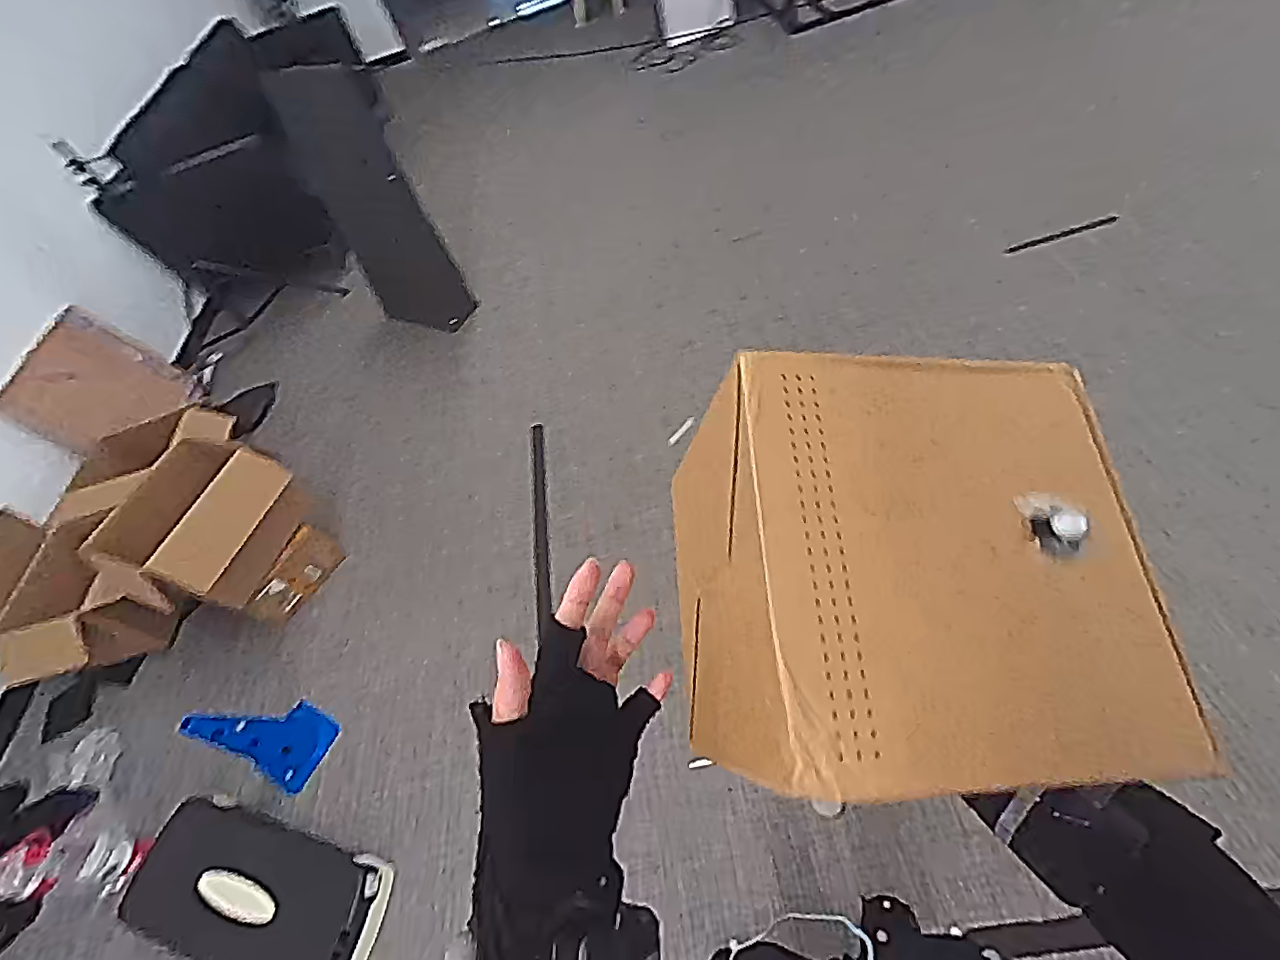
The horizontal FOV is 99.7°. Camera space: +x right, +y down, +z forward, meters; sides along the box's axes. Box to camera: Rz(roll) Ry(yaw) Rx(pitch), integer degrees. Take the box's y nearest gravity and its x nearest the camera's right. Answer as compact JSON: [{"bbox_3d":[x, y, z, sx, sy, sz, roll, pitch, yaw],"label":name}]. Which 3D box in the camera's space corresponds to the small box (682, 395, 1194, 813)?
[{"bbox_3d":[0.120,0.064,0.300,0.176,0.168,0.179,1,70,-6],"label":"small box"}]
